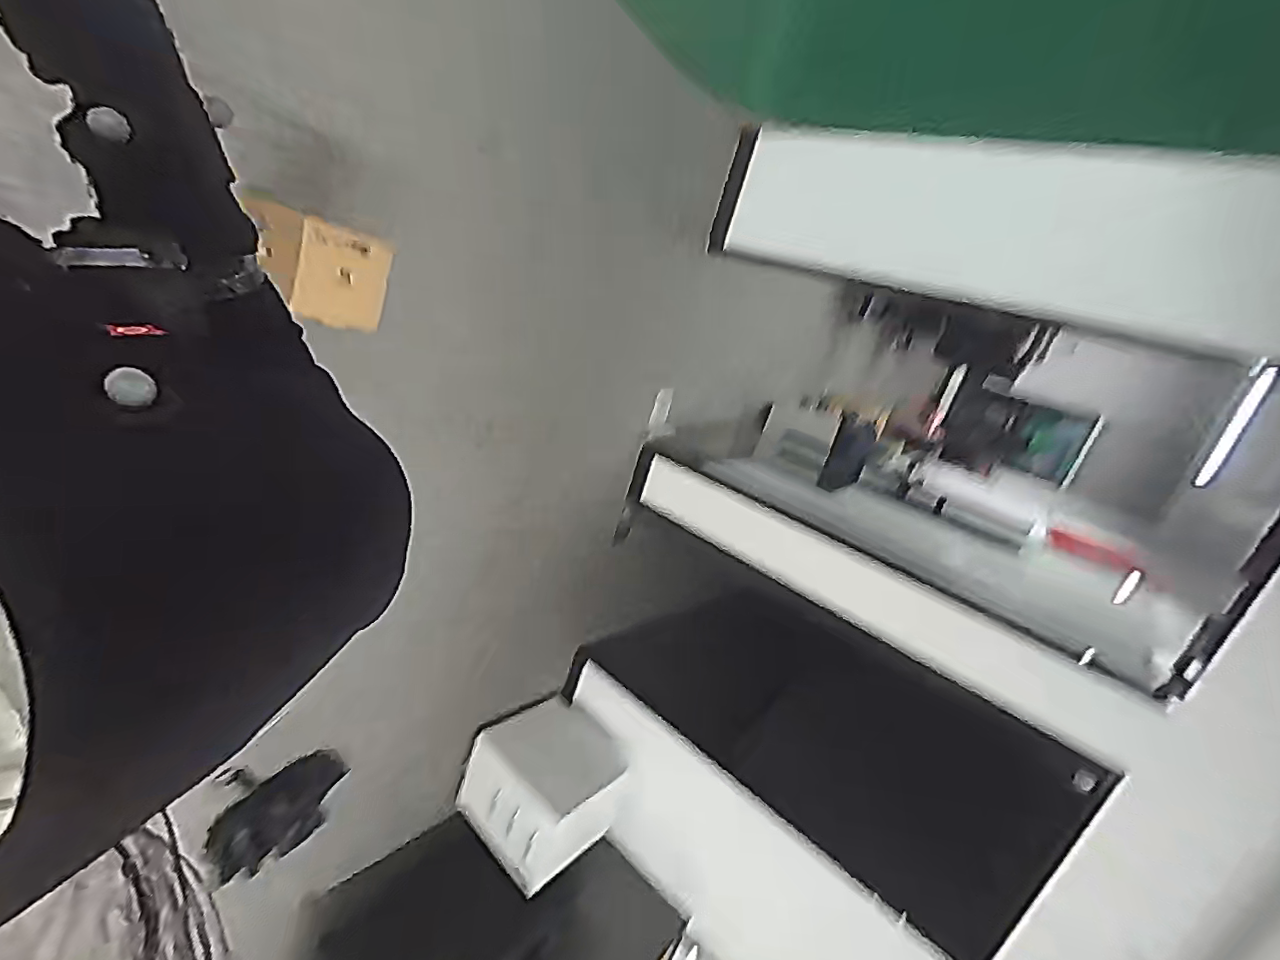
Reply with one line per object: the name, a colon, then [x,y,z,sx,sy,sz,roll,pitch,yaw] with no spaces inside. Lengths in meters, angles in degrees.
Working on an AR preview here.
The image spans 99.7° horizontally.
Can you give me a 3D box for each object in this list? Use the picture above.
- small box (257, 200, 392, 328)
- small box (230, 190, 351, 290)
small box: [-0.630,-0.426,1.073,0.168,0.176,0.179,0,114,-56]
small box: [-0.751,-0.495,1.159,0.168,0.176,0.179,-3,115,-55]
